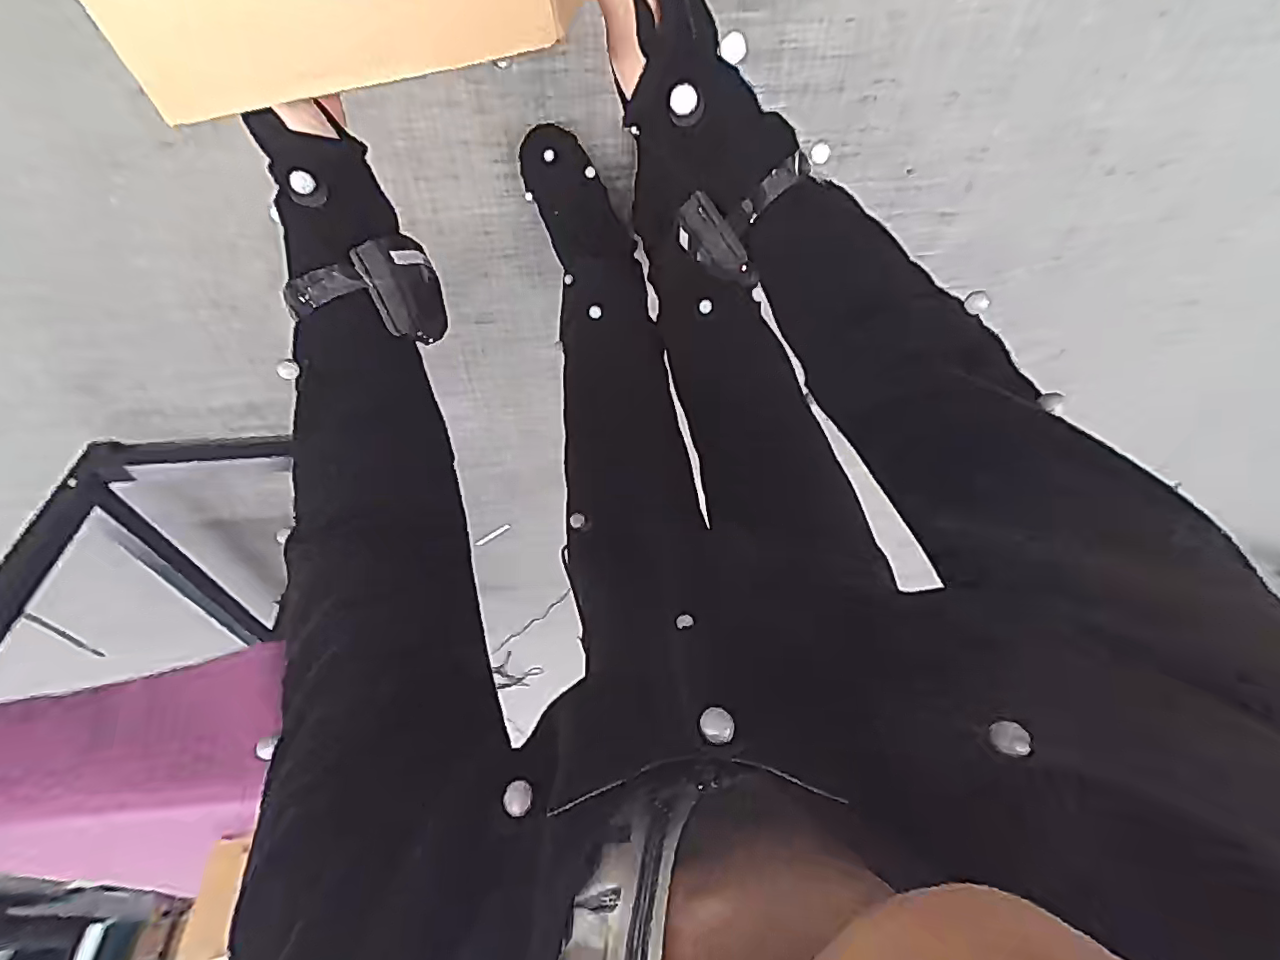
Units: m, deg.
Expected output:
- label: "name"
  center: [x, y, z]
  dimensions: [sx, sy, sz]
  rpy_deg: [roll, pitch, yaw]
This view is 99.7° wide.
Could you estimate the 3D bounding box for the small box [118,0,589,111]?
- label: "small box"
  center: [-0.119, -0.279, 0.213]
  dimensions: [0.179, 0.176, 0.168]
  rpy_deg: [-5, 139, 8]
